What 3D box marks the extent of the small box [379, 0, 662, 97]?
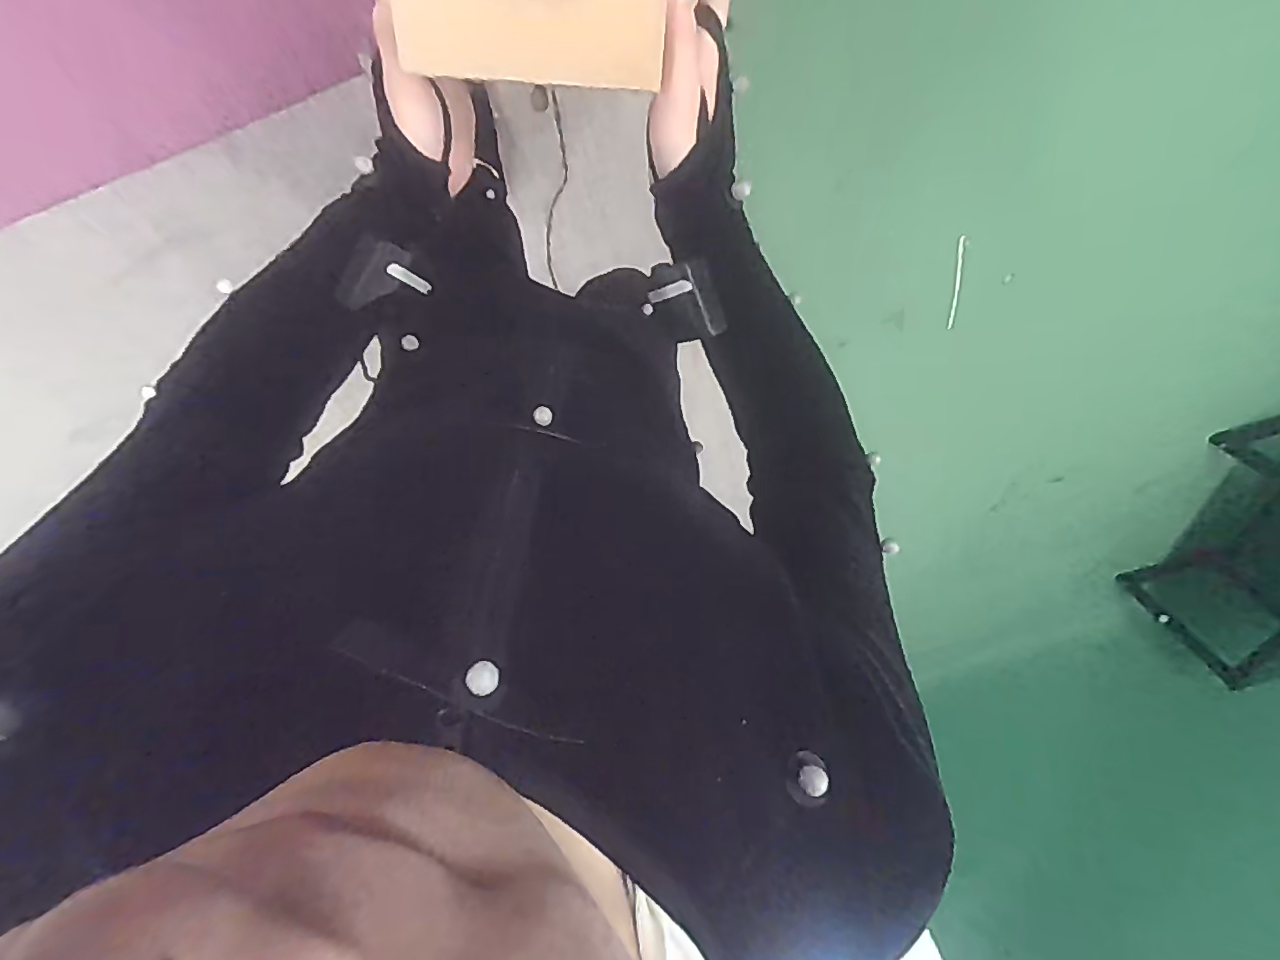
[{"bbox_3d":[-0.066,-0.366,0.356,0.168,0.176,0.179,4,125,1],"label":"small box"}]
